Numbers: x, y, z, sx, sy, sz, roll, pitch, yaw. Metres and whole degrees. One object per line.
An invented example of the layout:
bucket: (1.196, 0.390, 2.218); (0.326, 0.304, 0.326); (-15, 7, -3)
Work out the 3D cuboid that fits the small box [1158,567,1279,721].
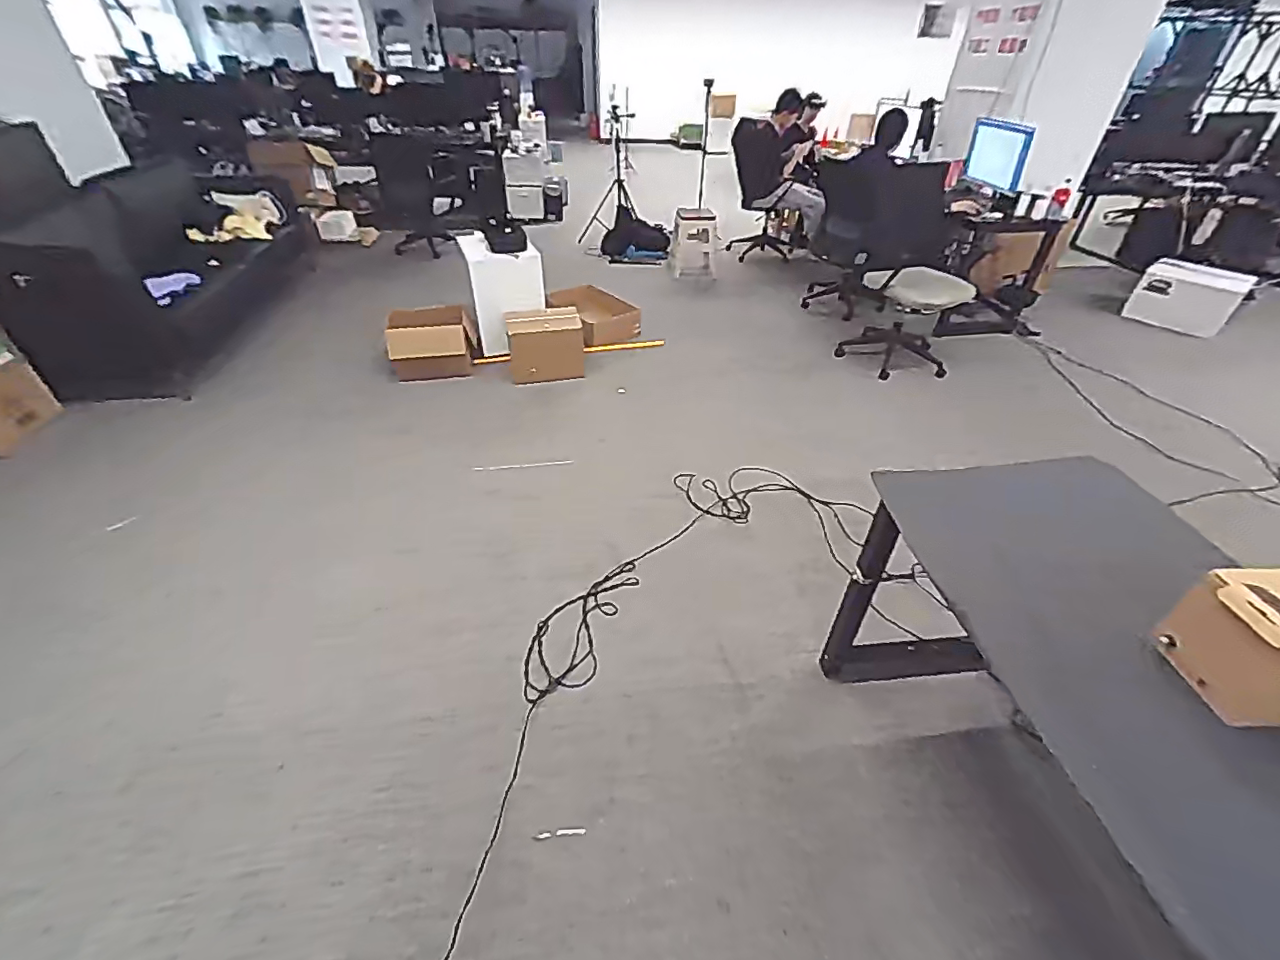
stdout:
small box: (0.959, 0.250, 0.825); (0.179, 0.176, 0.168); (0, 39, -3)
